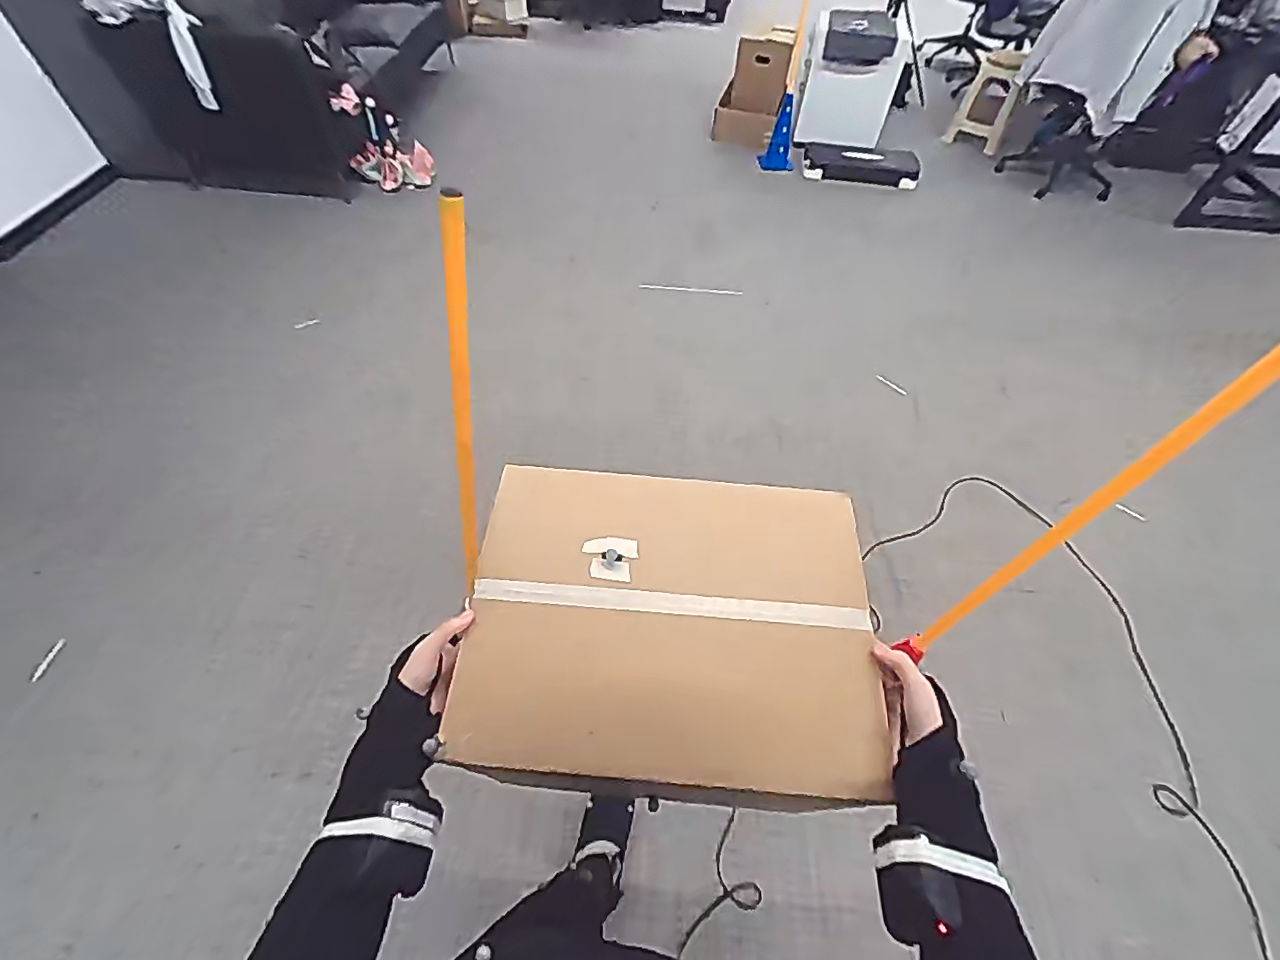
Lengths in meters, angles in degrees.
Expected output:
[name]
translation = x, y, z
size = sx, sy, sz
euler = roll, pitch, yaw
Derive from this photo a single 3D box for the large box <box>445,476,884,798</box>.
[large box]
translation = 0.029, 0.214, 0.688
size = 0.408, 0.320, 0.320
euler = 4, 56, 1
